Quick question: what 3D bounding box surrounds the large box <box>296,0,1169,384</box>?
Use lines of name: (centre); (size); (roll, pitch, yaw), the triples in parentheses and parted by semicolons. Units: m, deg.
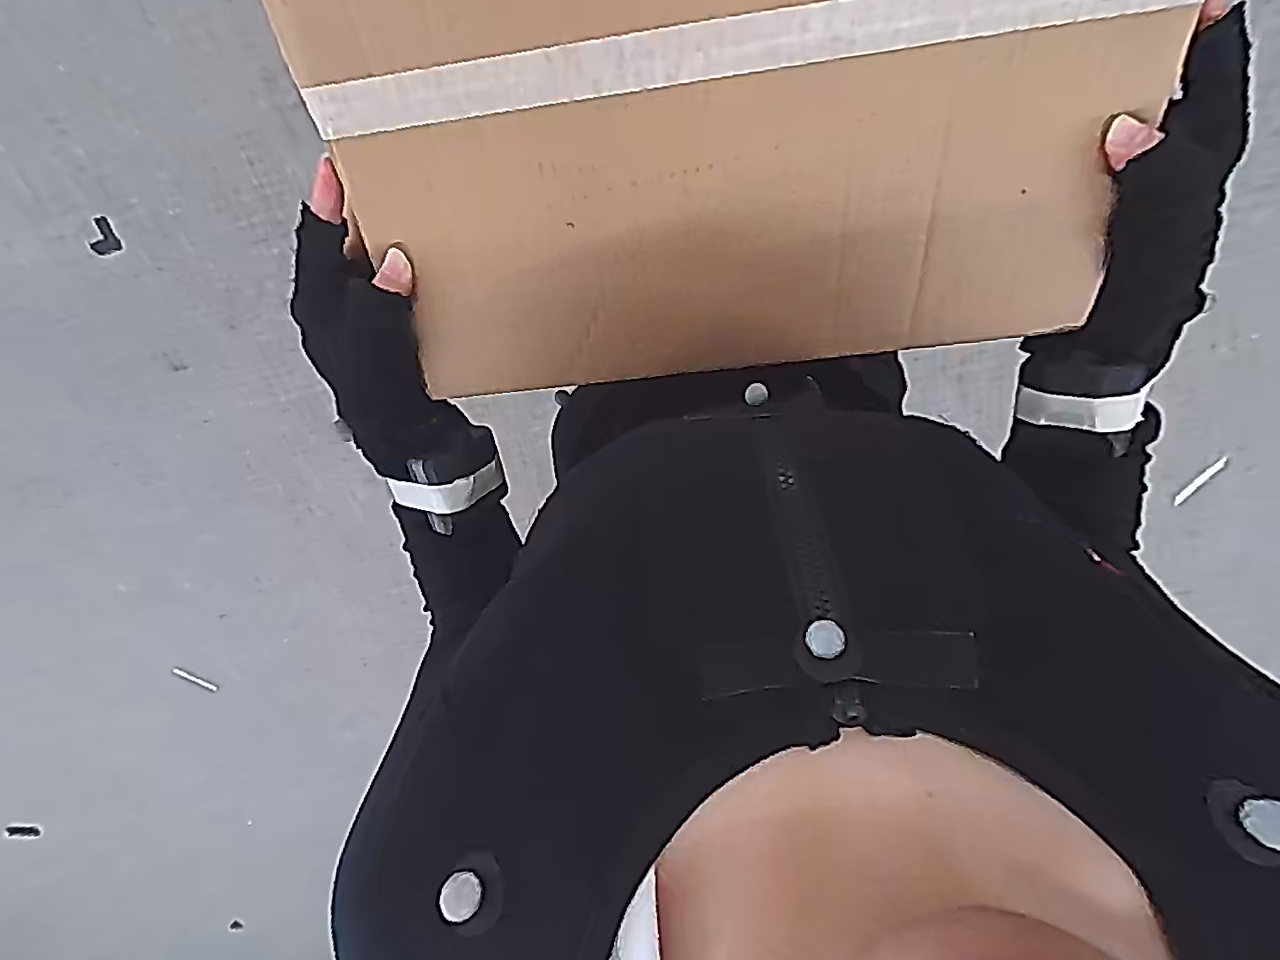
large box: (0.042, -0.293, 0.378); (0.408, 0.320, 0.320); (-6, 126, 4)
